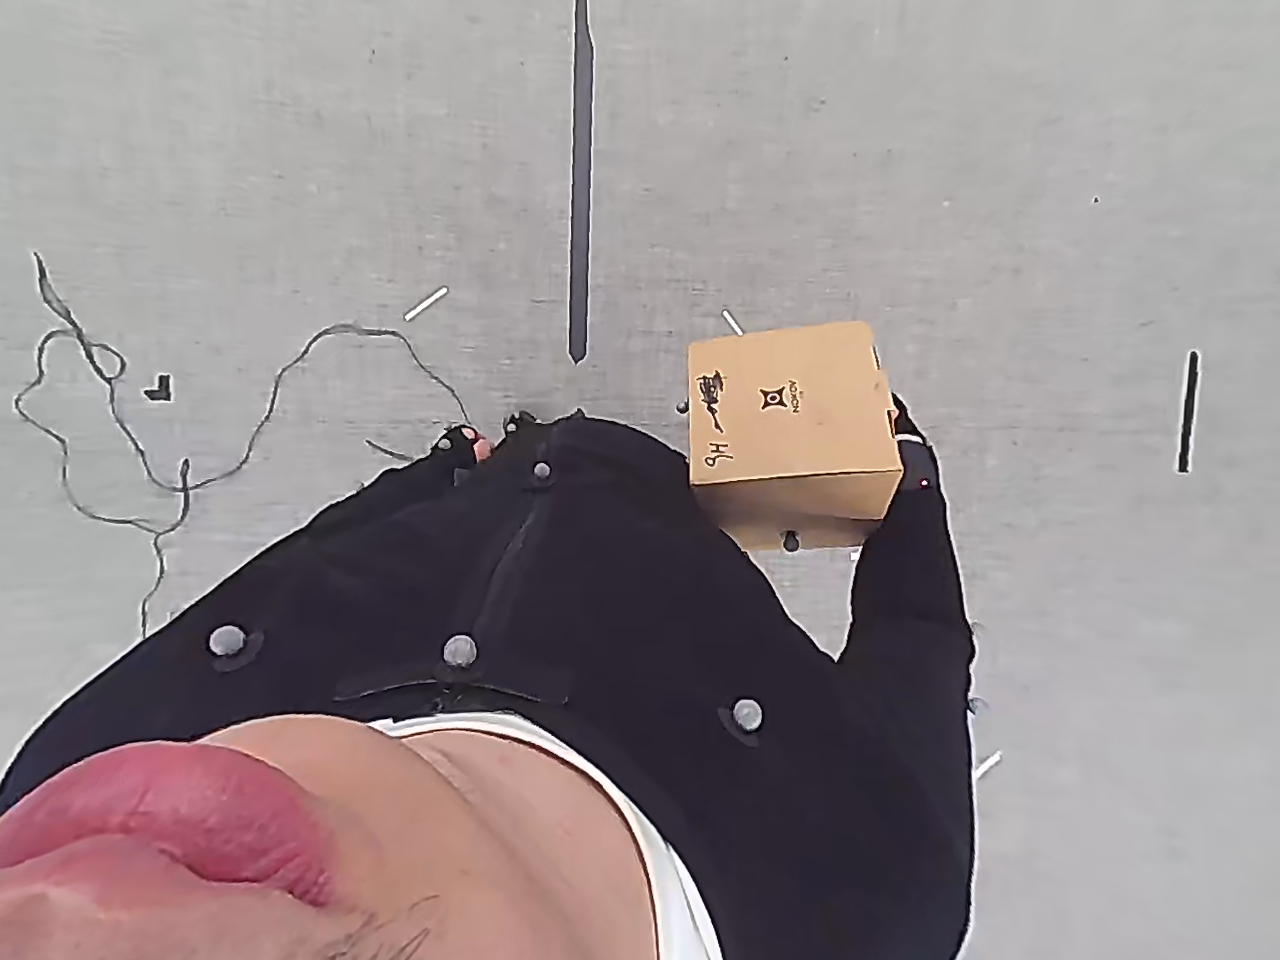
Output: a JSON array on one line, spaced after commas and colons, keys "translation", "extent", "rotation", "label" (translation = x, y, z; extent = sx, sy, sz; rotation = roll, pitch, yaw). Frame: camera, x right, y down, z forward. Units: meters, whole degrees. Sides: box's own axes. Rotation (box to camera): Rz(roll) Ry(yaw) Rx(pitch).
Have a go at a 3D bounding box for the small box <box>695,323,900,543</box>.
[{"translation": [0.153, -0.039, 0.575], "extent": [0.179, 0.176, 0.168], "rotation": [-4, 61, 11], "label": "small box"}]
